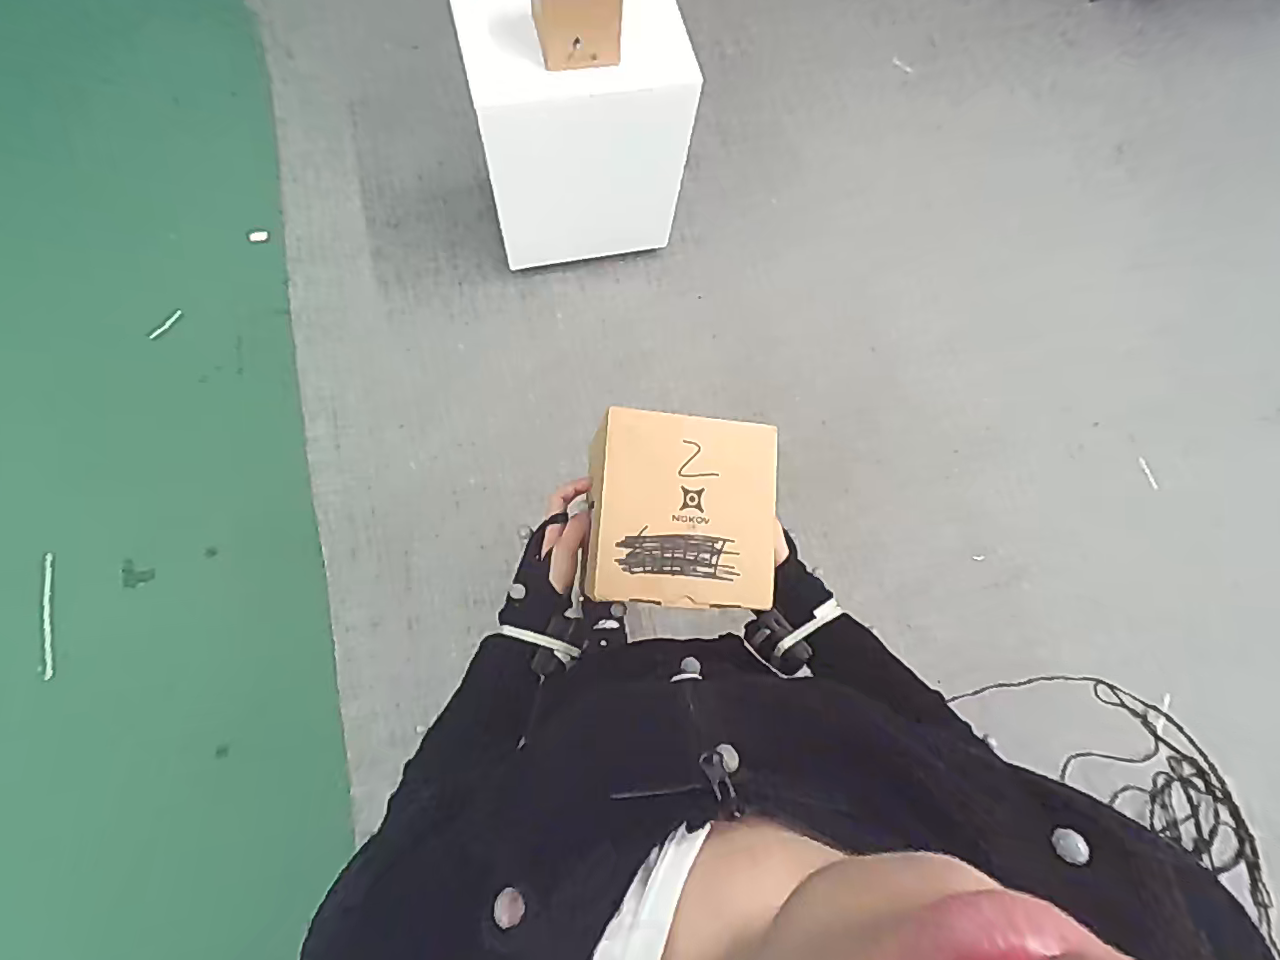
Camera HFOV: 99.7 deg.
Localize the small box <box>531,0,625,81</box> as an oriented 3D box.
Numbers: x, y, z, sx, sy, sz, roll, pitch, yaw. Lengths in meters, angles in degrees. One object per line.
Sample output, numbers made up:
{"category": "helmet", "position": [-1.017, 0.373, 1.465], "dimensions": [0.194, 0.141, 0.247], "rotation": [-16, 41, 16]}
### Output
{"category": "small box", "position": [-0.135, -0.981, 1.128], "dimensions": [0.168, 0.176, 0.179], "rotation": [-12, 76, -9]}
